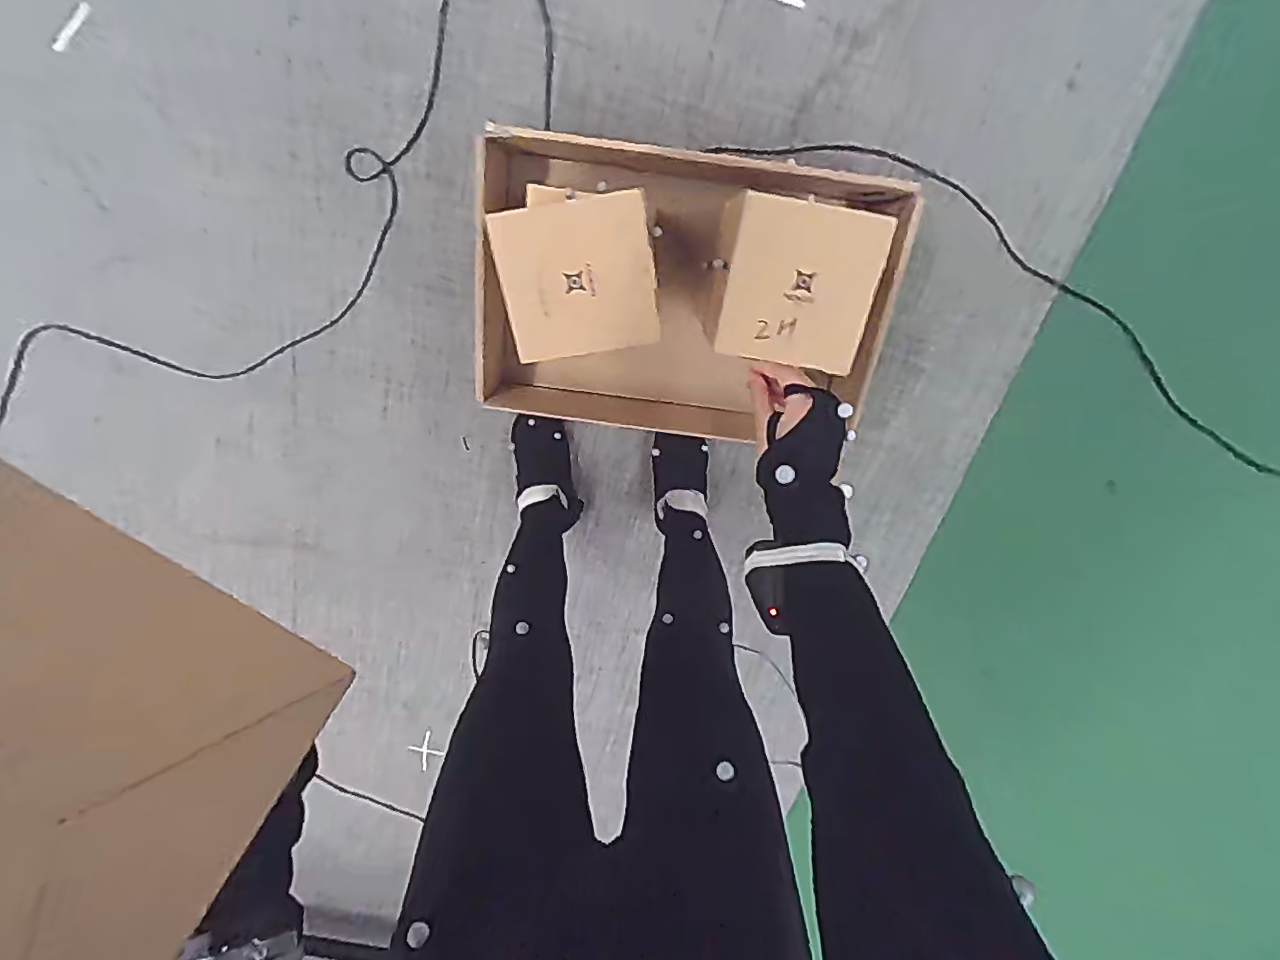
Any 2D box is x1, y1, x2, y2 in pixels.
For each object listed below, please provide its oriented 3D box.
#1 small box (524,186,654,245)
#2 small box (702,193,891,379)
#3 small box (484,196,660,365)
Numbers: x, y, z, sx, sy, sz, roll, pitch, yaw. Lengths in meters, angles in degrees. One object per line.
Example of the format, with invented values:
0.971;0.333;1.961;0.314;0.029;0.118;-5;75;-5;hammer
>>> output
-0.077;-0.338;0.825;0.179;0.176;0.168;7;115;-4;small box
0.177;-0.243;0.679;0.168;0.176;0.179;10;114;-2;small box
-0.073;-0.255;0.685;0.179;0.176;0.168;-7;114;4;small box
